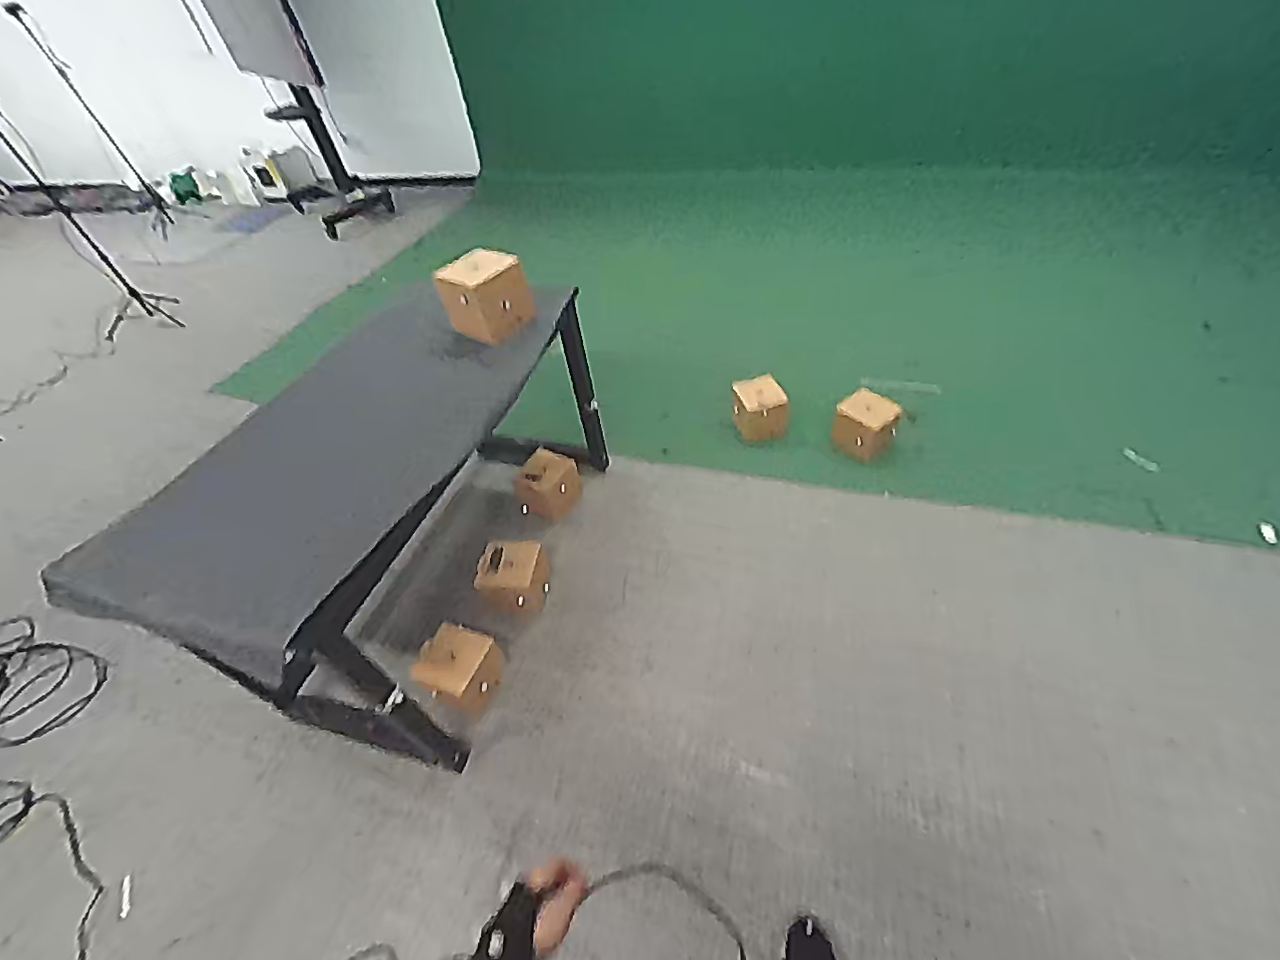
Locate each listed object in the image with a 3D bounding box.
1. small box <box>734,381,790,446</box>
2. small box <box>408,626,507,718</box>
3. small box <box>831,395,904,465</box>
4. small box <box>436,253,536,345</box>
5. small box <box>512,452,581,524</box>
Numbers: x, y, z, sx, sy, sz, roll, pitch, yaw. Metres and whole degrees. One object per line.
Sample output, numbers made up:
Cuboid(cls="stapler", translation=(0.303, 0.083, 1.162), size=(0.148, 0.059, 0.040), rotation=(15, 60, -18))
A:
Cuboid(cls="small box", translation=(0.477, -0.263, 2.144), size=(0.168, 0.176, 0.179), rotation=(-15, 45, -6))
Cuboid(cls="small box", translation=(-0.496, 0.539, 1.505), size=(0.179, 0.176, 0.168), rotation=(12, 49, 19))
Cuboid(cls="small box", translation=(0.841, -0.179, 2.009), size=(0.168, 0.176, 0.179), rotation=(-31, 49, -23))
Cuboid(cls="small box", translation=(-0.407, -0.487, 1.460), size=(0.179, 0.176, 0.168), rotation=(25, 54, 31))
Cuboid(cls="small box", translation=(-0.332, 0.033, 1.970), size=(0.168, 0.176, 0.179), rotation=(19, 50, 24))
